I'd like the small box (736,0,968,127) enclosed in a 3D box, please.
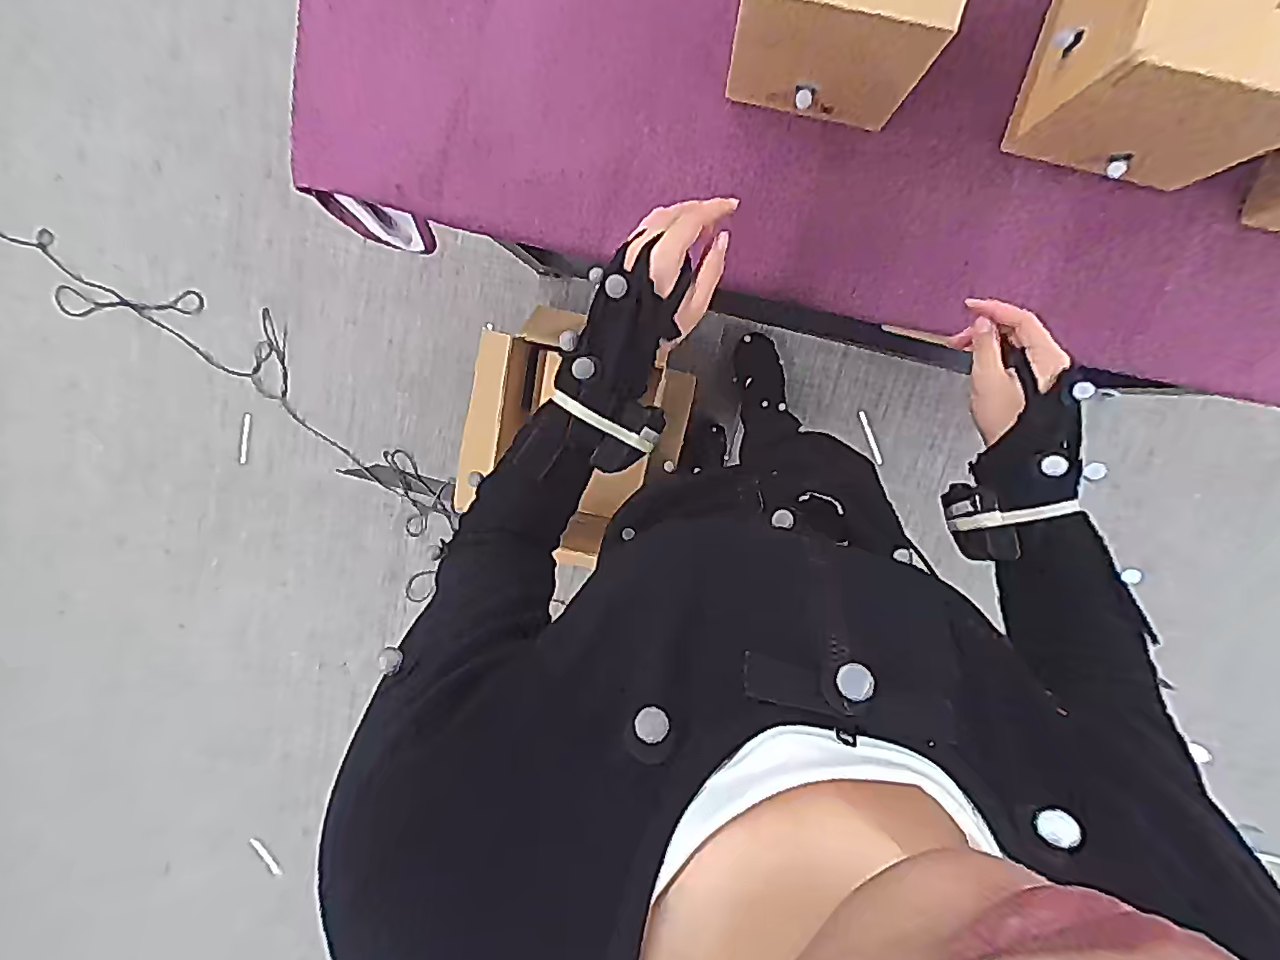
[{"bbox_3d":[0.187,-0.452,0.470,0.168,0.176,0.179,14,101,2],"label":"small box"}]

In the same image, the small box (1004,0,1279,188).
[{"bbox_3d":[0.466,-0.382,0.456,0.179,0.176,0.168,16,100,3],"label":"small box"}]

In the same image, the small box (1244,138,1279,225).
[{"bbox_3d":[0.701,-0.308,0.450,0.179,0.176,0.168,15,99,2],"label":"small box"}]
